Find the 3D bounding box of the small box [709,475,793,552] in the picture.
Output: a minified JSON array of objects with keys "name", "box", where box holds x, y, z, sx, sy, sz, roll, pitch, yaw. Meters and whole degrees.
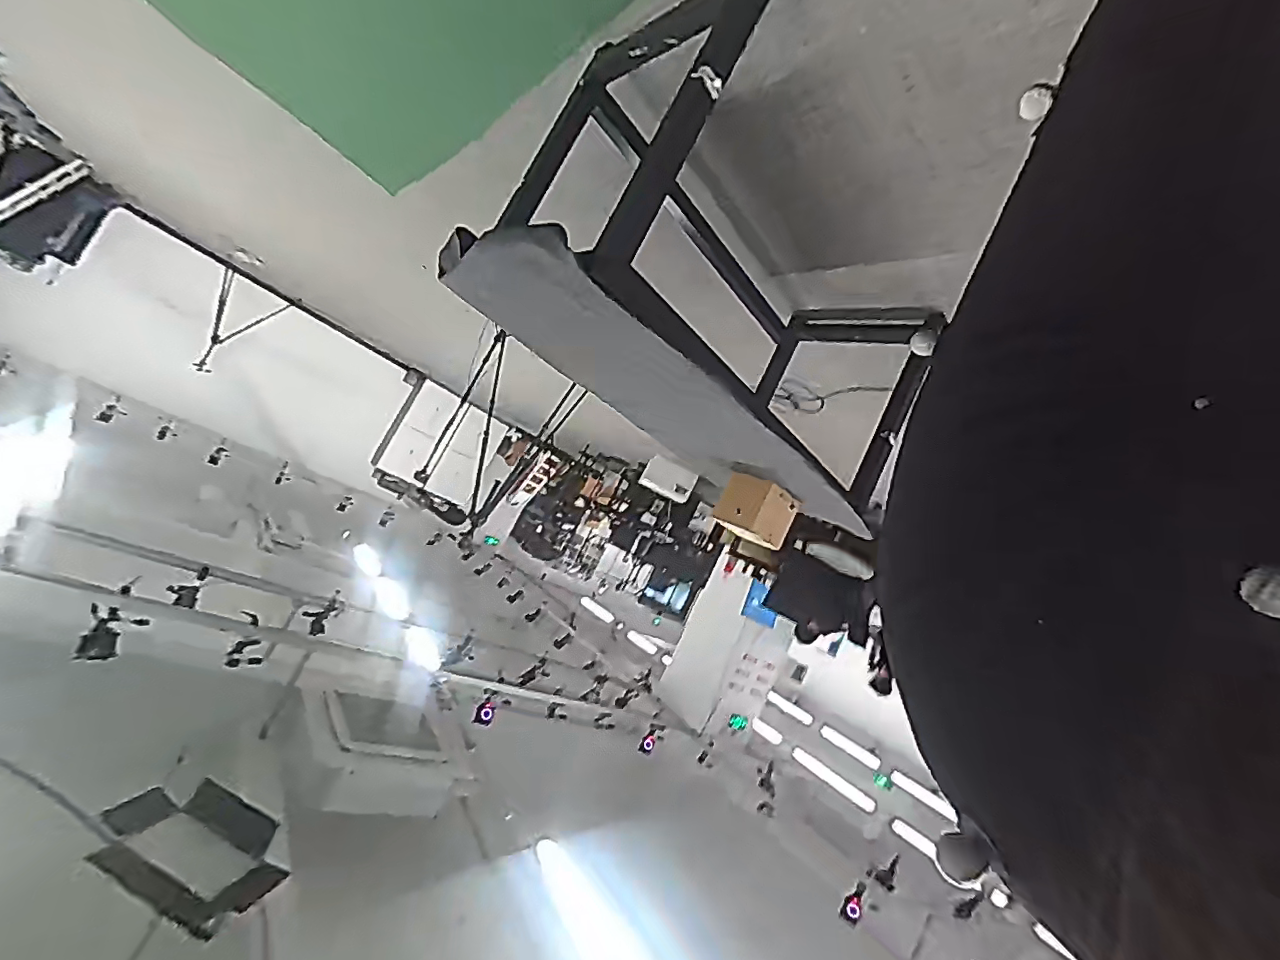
[{"name":"small box","box":[0.356,0.100,1.694,0.168,0.176,0.179,33,172,-36]}]
